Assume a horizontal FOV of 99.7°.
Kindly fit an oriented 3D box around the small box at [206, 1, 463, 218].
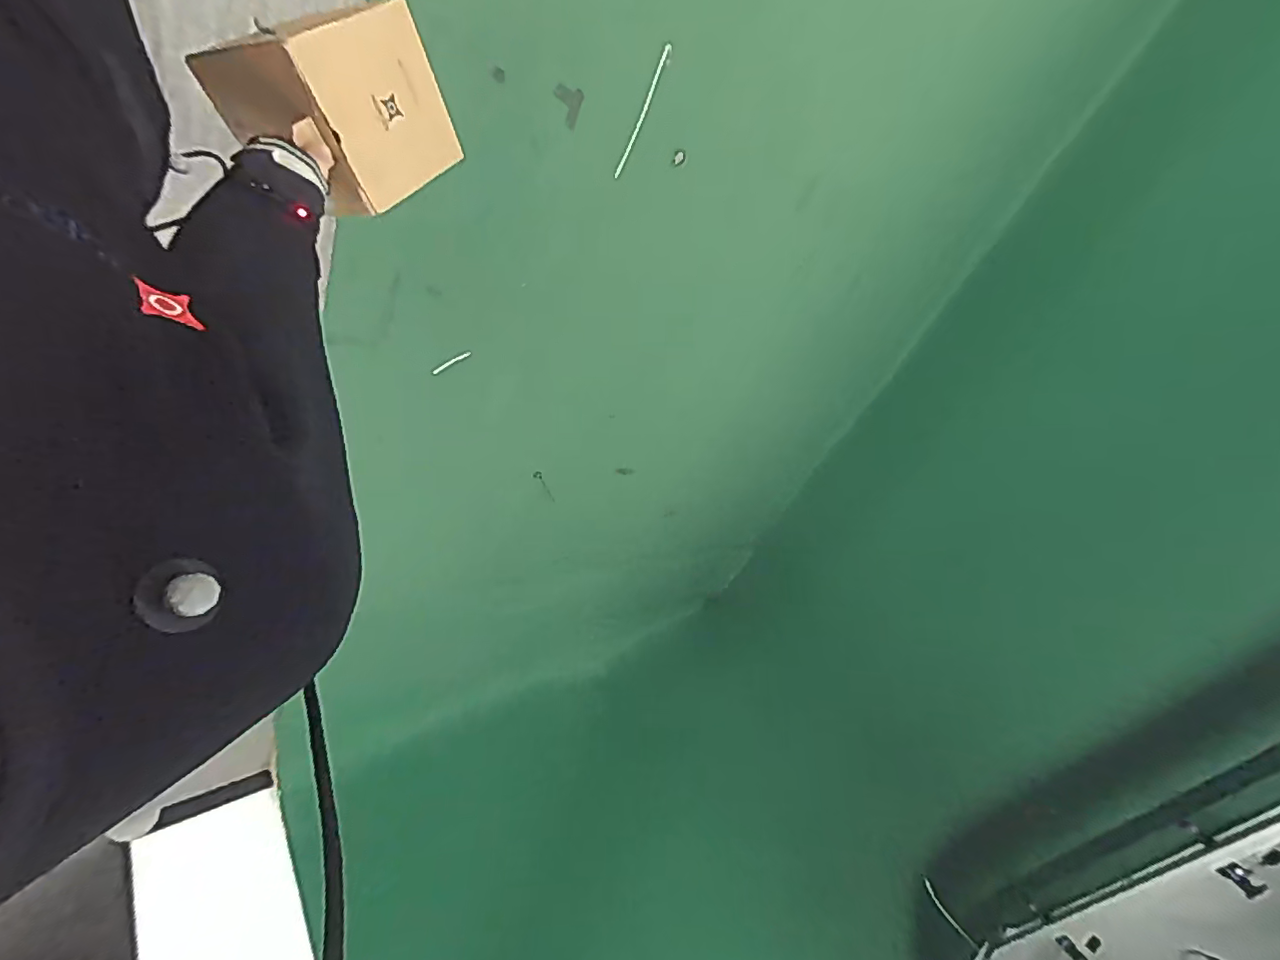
[{"bbox_3d":[-0.352,-0.426,0.633,0.168,0.176,0.179,76,33,-48],"label":"small box"}]
